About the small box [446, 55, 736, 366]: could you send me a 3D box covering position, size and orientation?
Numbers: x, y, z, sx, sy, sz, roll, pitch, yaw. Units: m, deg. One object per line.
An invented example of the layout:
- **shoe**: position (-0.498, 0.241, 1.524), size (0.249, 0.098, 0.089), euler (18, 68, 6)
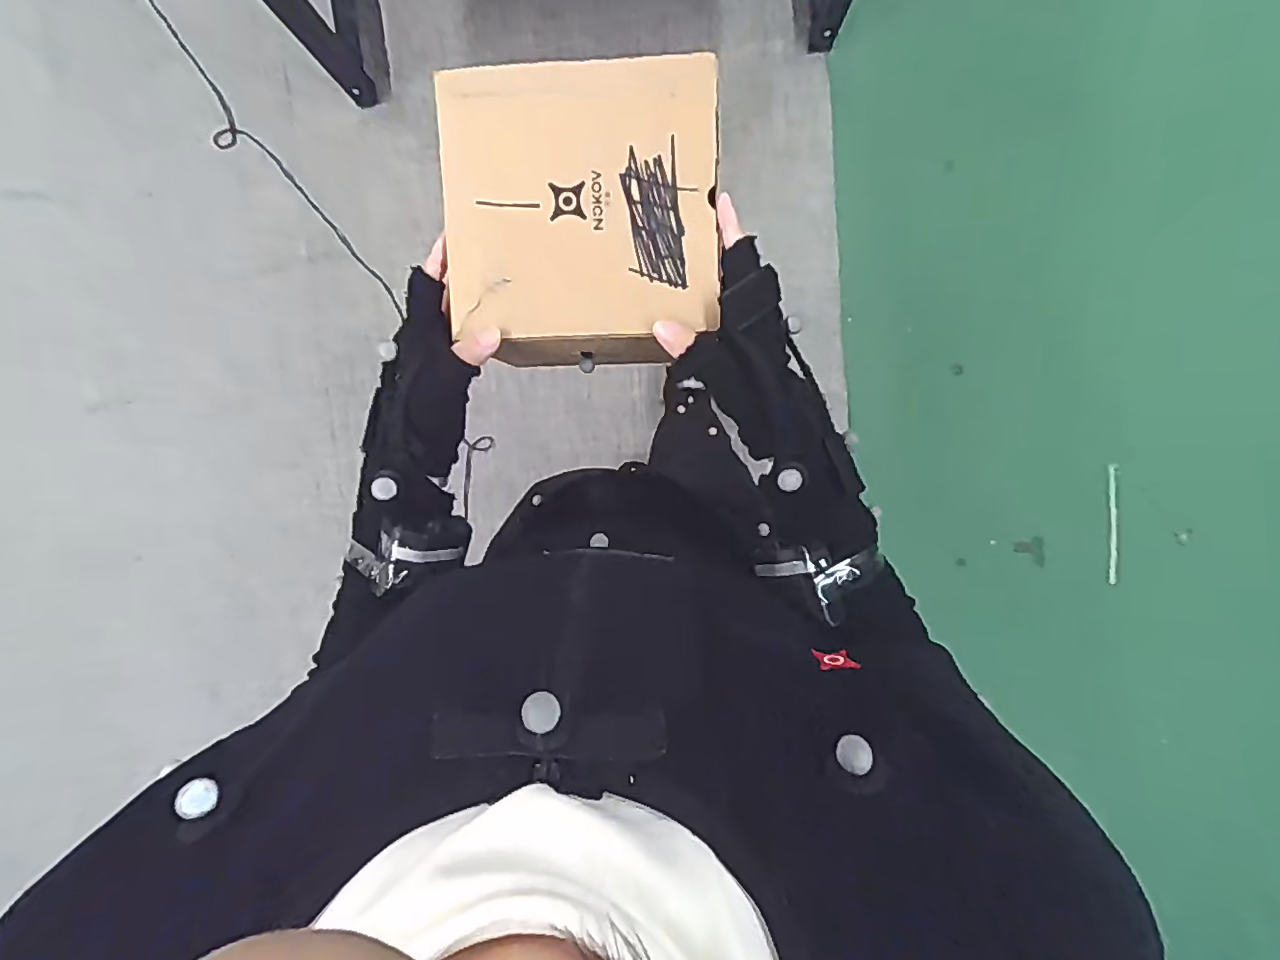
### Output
- **small box**: position (-0.031, -0.187, 0.426), size (0.179, 0.176, 0.168), euler (-6, 95, 0)
